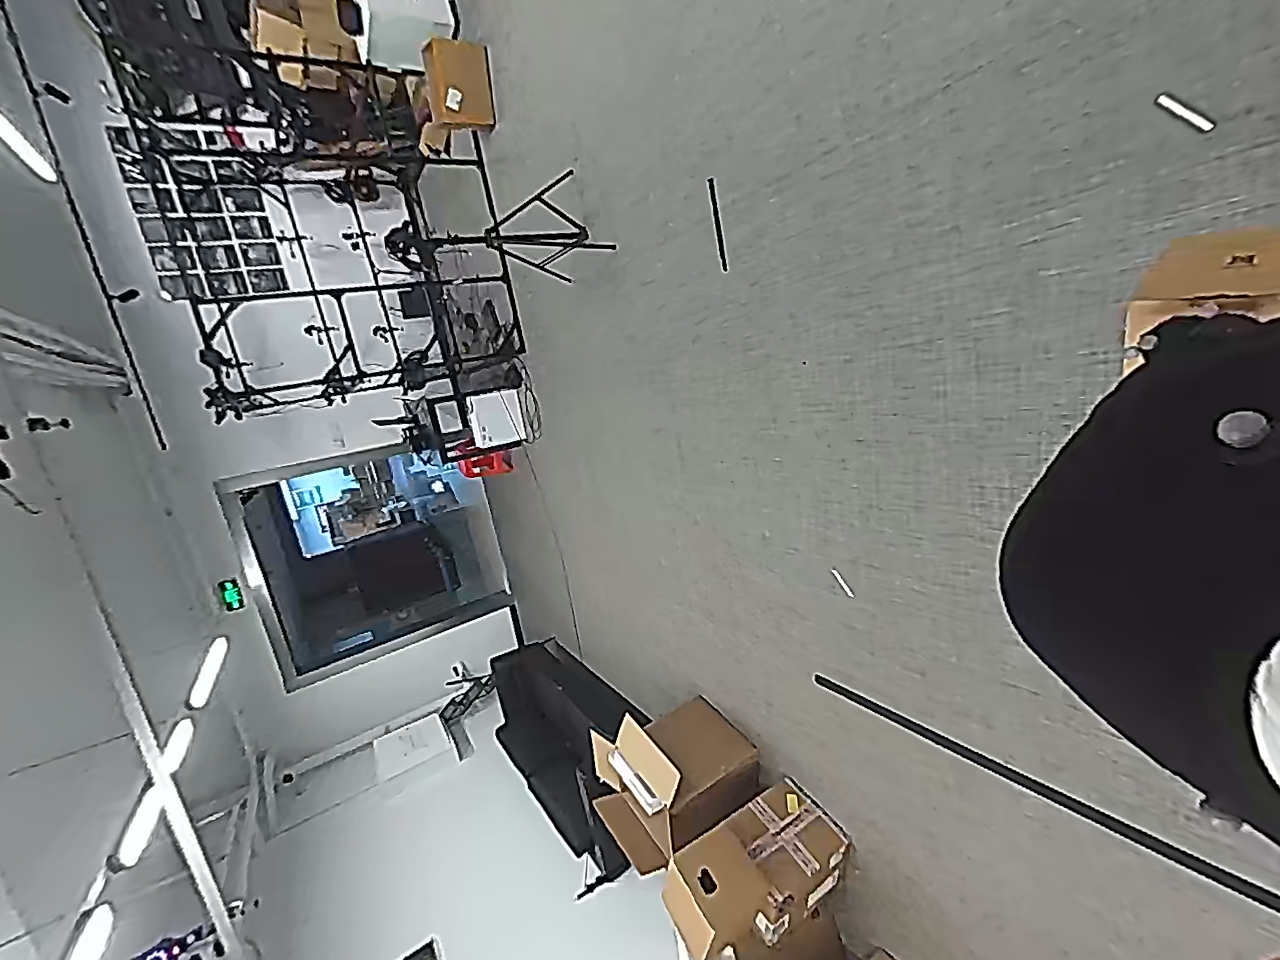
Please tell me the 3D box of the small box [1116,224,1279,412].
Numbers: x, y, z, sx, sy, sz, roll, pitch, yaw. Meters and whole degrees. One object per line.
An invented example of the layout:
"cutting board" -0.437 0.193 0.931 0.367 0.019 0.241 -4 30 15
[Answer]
"small box" 0.749 -0.204 0.695 0.168 0.179 0.176 17 142 52
